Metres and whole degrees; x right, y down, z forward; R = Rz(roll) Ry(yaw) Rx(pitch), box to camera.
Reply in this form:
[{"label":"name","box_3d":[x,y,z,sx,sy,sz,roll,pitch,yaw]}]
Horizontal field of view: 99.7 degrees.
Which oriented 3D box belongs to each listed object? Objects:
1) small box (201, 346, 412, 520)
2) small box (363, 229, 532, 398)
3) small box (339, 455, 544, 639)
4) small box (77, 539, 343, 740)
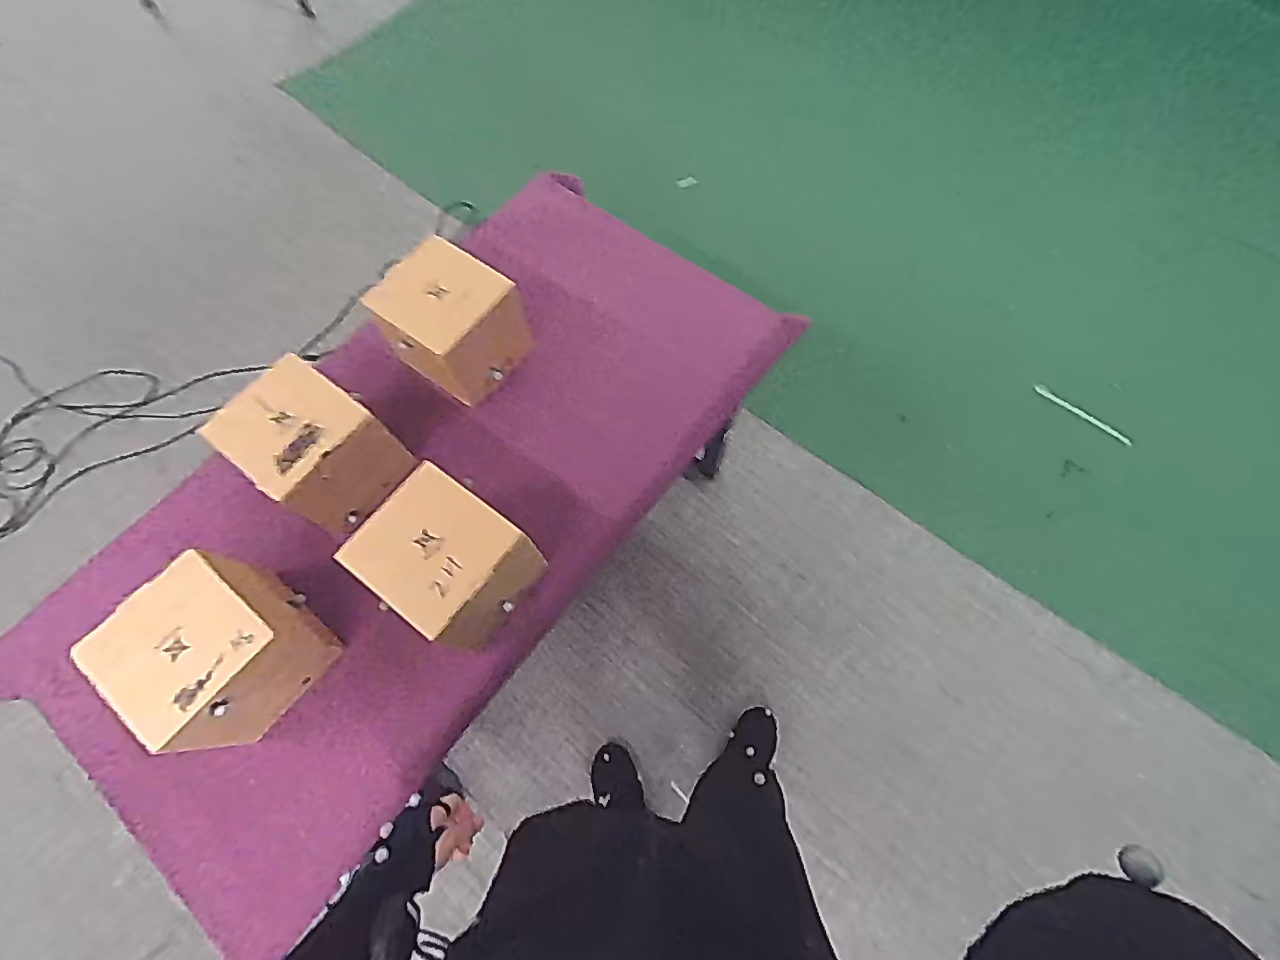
[{"label":"small box","box_3d":[-0.484,-0.059,0.816,0.179,0.176,0.168,35,72,14]},{"label":"small box","box_3d":[-0.306,-0.266,0.898,0.179,0.176,0.168,35,74,12]},{"label":"small box","box_3d":[-0.259,0.102,0.748,0.179,0.176,0.168,35,73,14]},{"label":"small box","box_3d":[-0.543,0.210,0.708,0.179,0.176,0.168,37,75,14]}]
